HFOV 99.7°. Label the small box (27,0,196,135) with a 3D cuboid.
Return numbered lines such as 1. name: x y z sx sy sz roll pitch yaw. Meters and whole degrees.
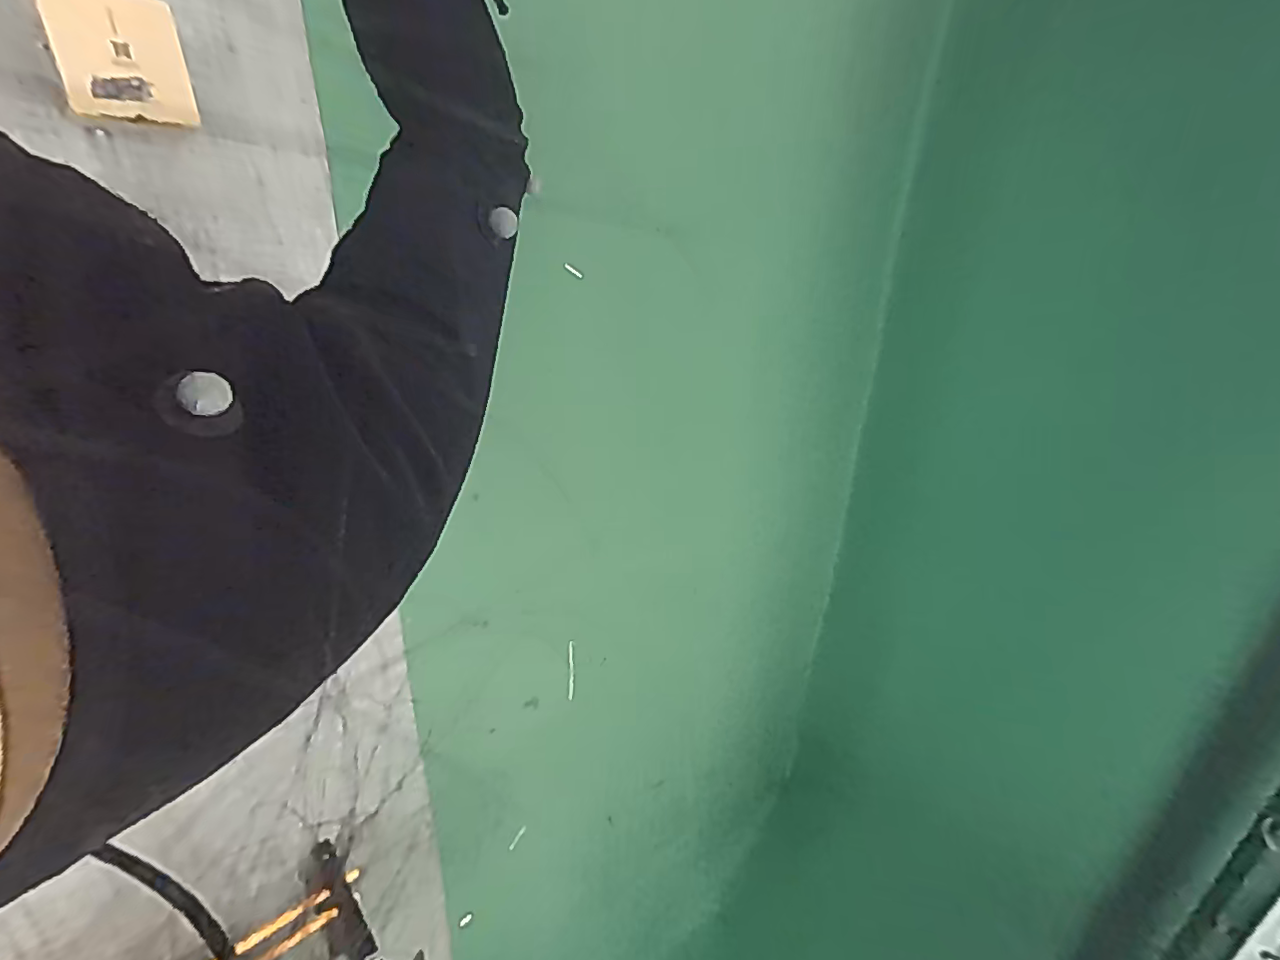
1. small box: -0.881 -0.696 0.906 0.168 0.176 0.179 -21 121 -41
